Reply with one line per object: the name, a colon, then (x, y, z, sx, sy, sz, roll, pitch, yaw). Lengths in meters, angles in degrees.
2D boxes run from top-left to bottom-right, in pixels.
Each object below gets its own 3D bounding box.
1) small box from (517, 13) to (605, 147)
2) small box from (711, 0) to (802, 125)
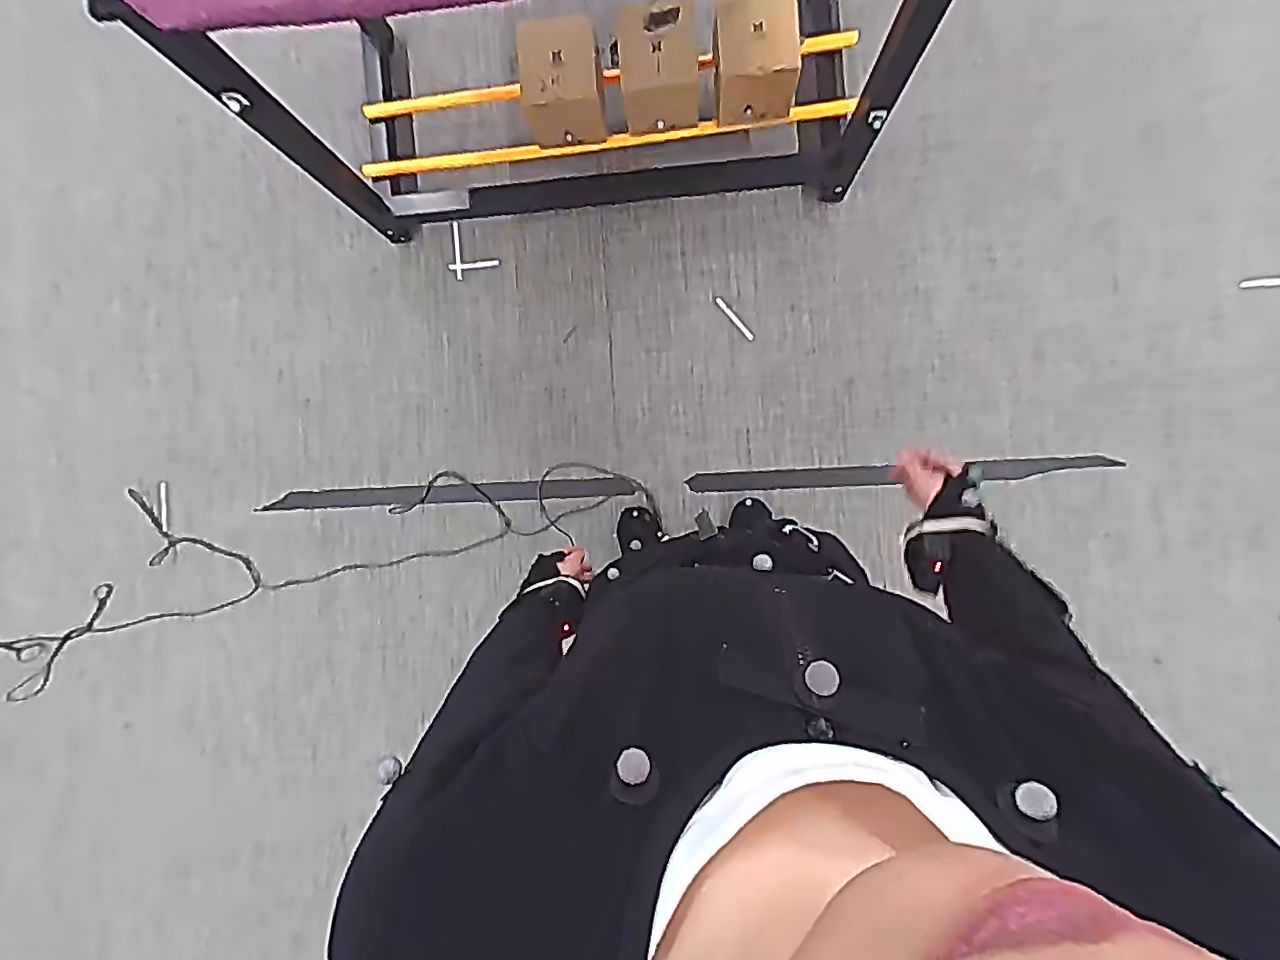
small box: (-0.171, -0.886, 1.212, 0.168, 0.176, 0.179, -3, 92, 4)
small box: (0.246, -0.919, 1.176, 0.168, 0.176, 0.179, -5, 91, 5)
